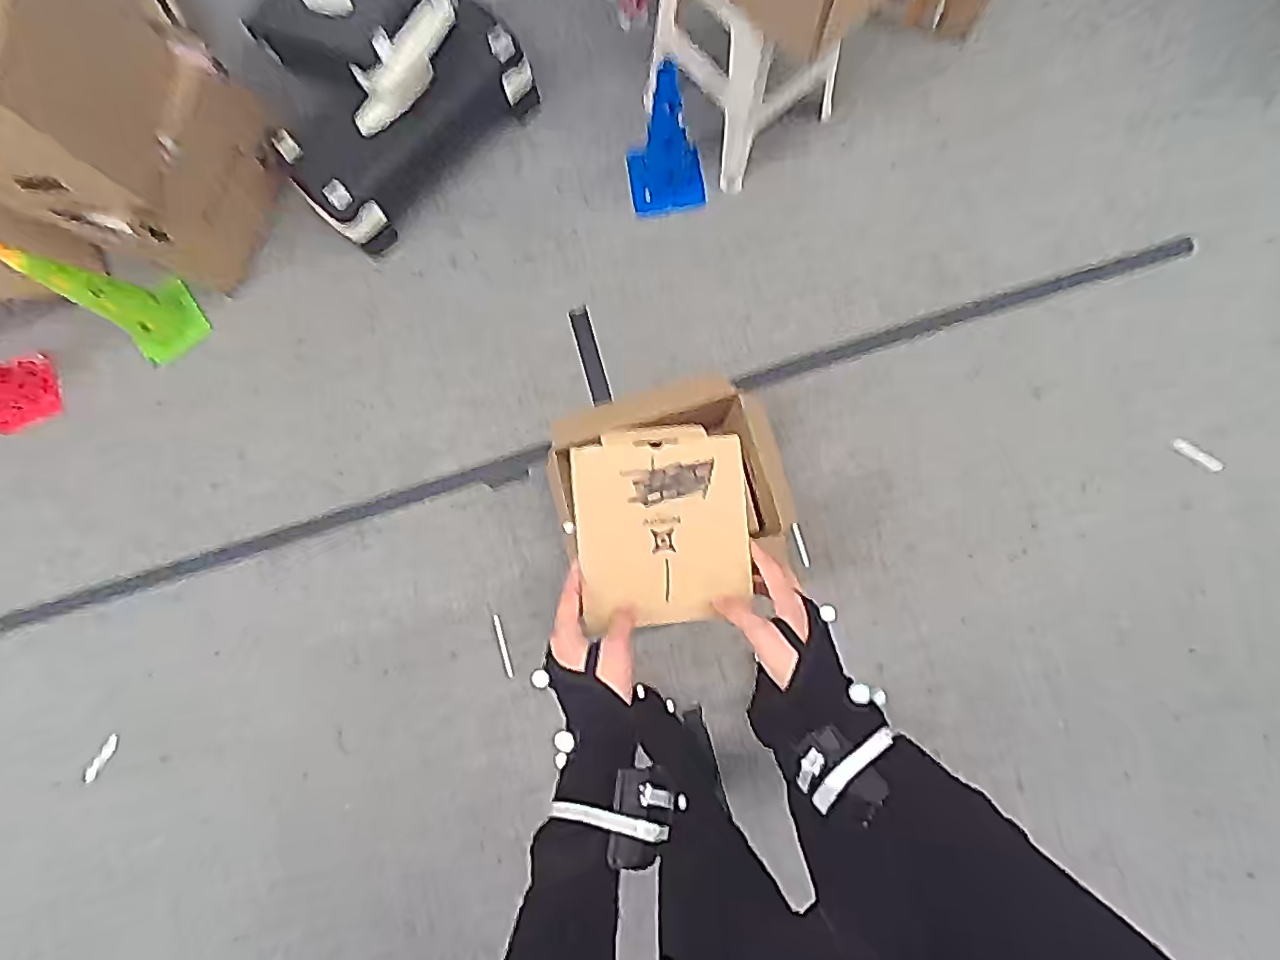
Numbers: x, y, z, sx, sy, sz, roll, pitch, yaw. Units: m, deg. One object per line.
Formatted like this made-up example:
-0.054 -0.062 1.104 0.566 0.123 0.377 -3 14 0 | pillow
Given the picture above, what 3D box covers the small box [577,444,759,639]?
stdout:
0.017 0.067 0.592 0.168 0.176 0.179 -5 83 -6 | small box
